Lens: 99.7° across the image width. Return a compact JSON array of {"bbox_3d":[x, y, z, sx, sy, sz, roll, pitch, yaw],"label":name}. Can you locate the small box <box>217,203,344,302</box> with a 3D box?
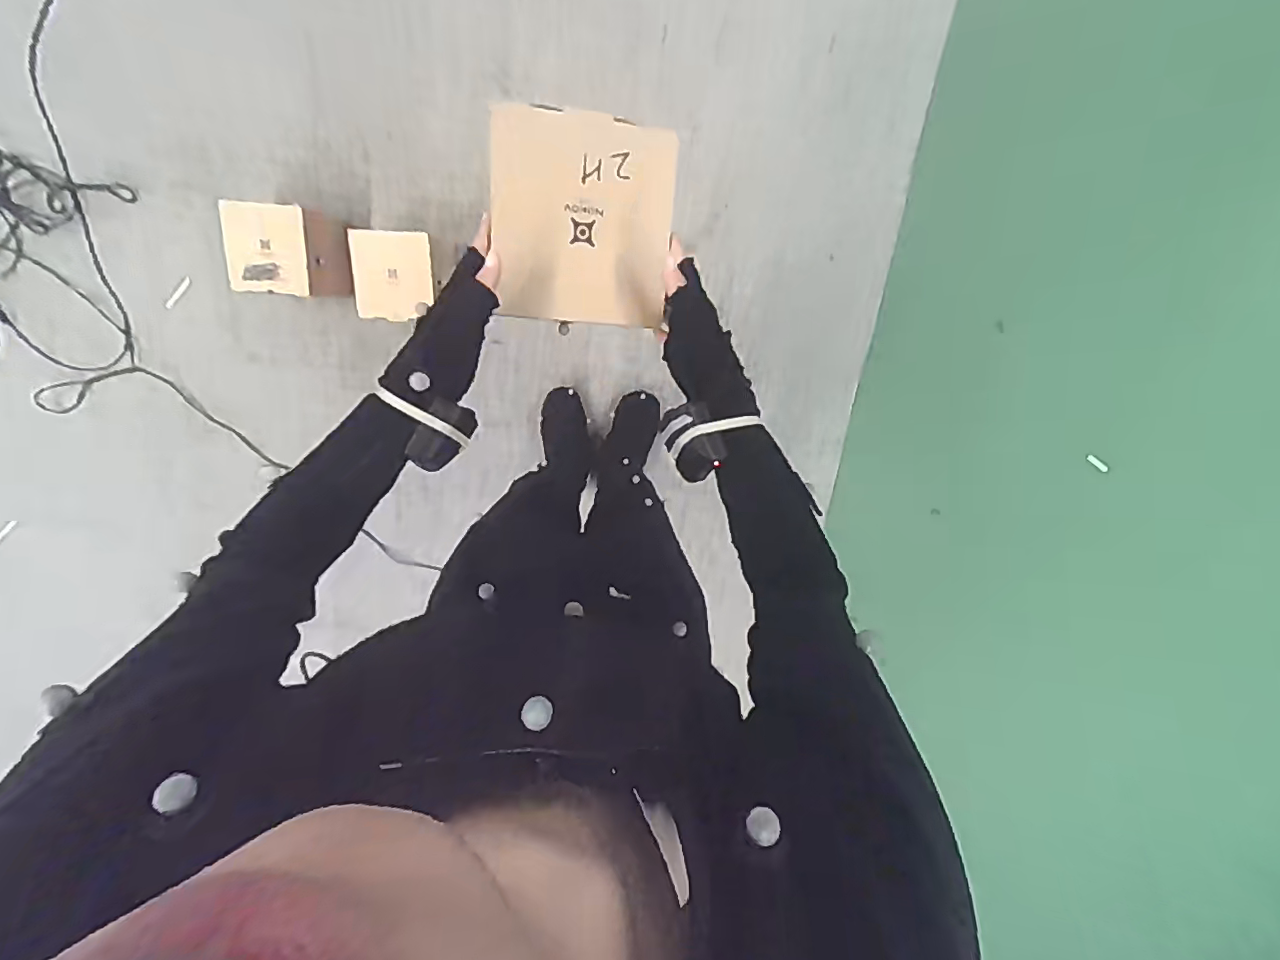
[{"bbox_3d":[-0.767,-0.485,1.176,0.168,0.176,0.179,4,107,-3],"label":"small box"}]

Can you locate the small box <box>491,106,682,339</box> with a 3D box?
[{"bbox_3d":[-0.067,-0.246,0.561,0.168,0.176,0.179,0,106,-16],"label":"small box"}]

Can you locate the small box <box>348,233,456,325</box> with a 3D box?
[{"bbox_3d":[-0.517,-0.439,1.198,0.168,0.176,0.179,1,109,-2],"label":"small box"}]
